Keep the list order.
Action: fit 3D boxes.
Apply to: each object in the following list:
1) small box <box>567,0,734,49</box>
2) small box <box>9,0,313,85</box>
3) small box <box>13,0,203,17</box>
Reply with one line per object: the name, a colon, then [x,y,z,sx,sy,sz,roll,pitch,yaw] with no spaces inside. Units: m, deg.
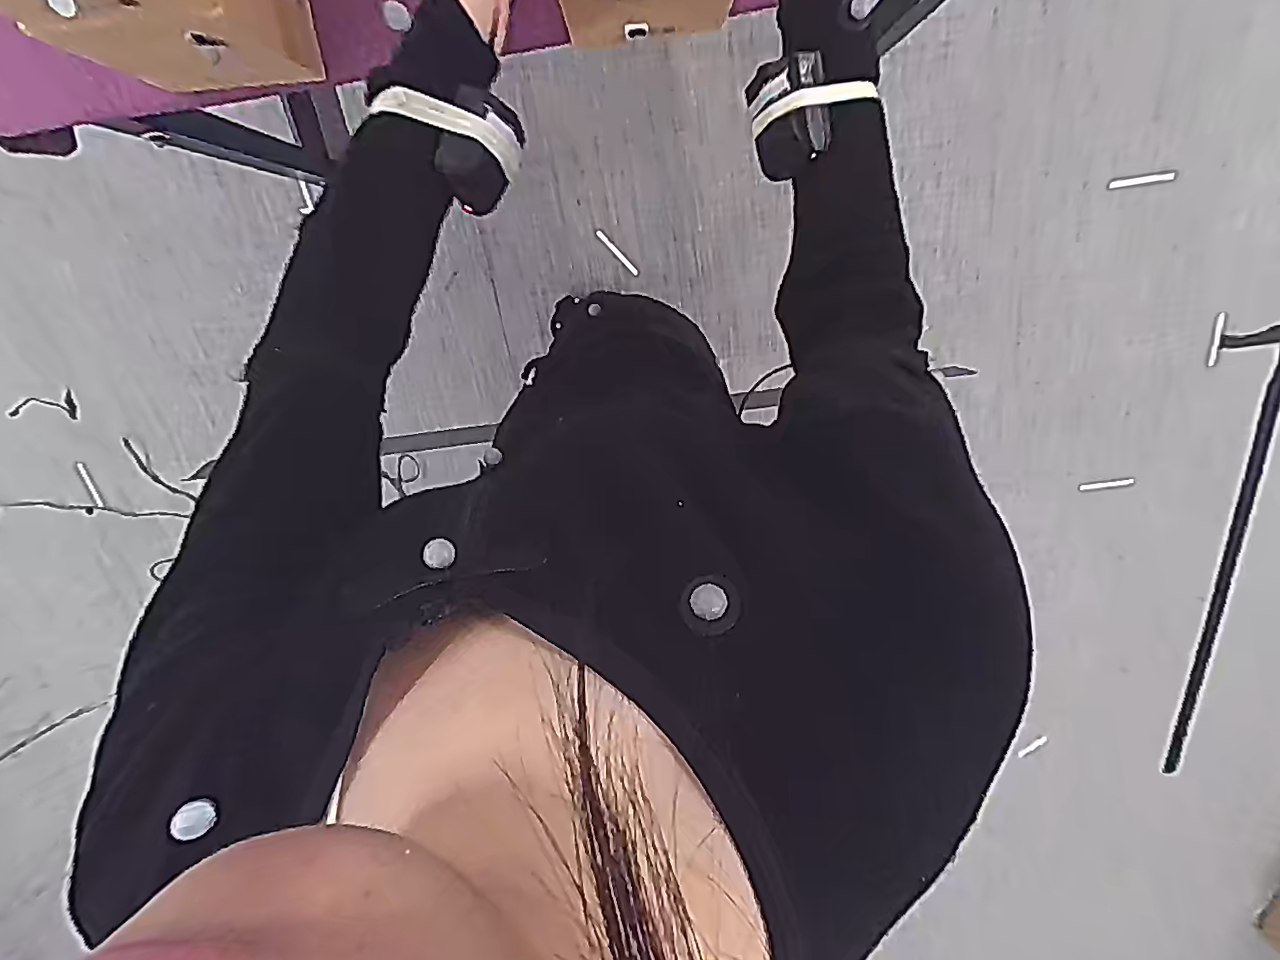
small box: [0.003,-0.528,0.480,0.168,0.176,0.179,-7,112,4]
small box: [-0.432,-0.485,0.490,0.179,0.176,0.168,-4,111,1]
small box: [-0.428,-0.434,0.334,0.168,0.176,0.179,-5,112,1]
